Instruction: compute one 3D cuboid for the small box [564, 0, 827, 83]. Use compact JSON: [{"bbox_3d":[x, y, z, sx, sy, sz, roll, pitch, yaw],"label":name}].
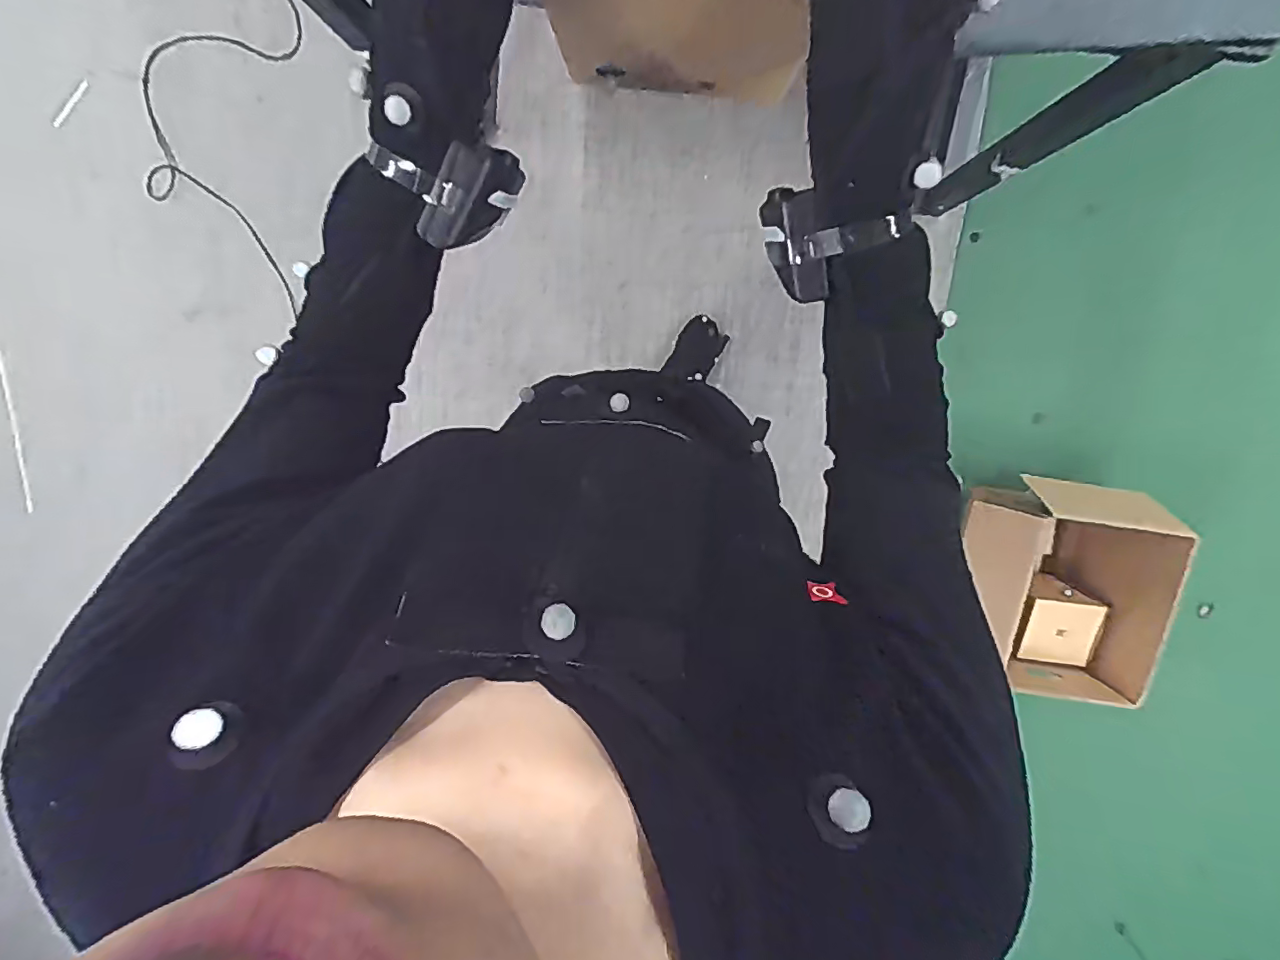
[{"bbox_3d":[0.040,-0.368,0.315,0.168,0.176,0.179,6,105,0],"label":"small box"}]
